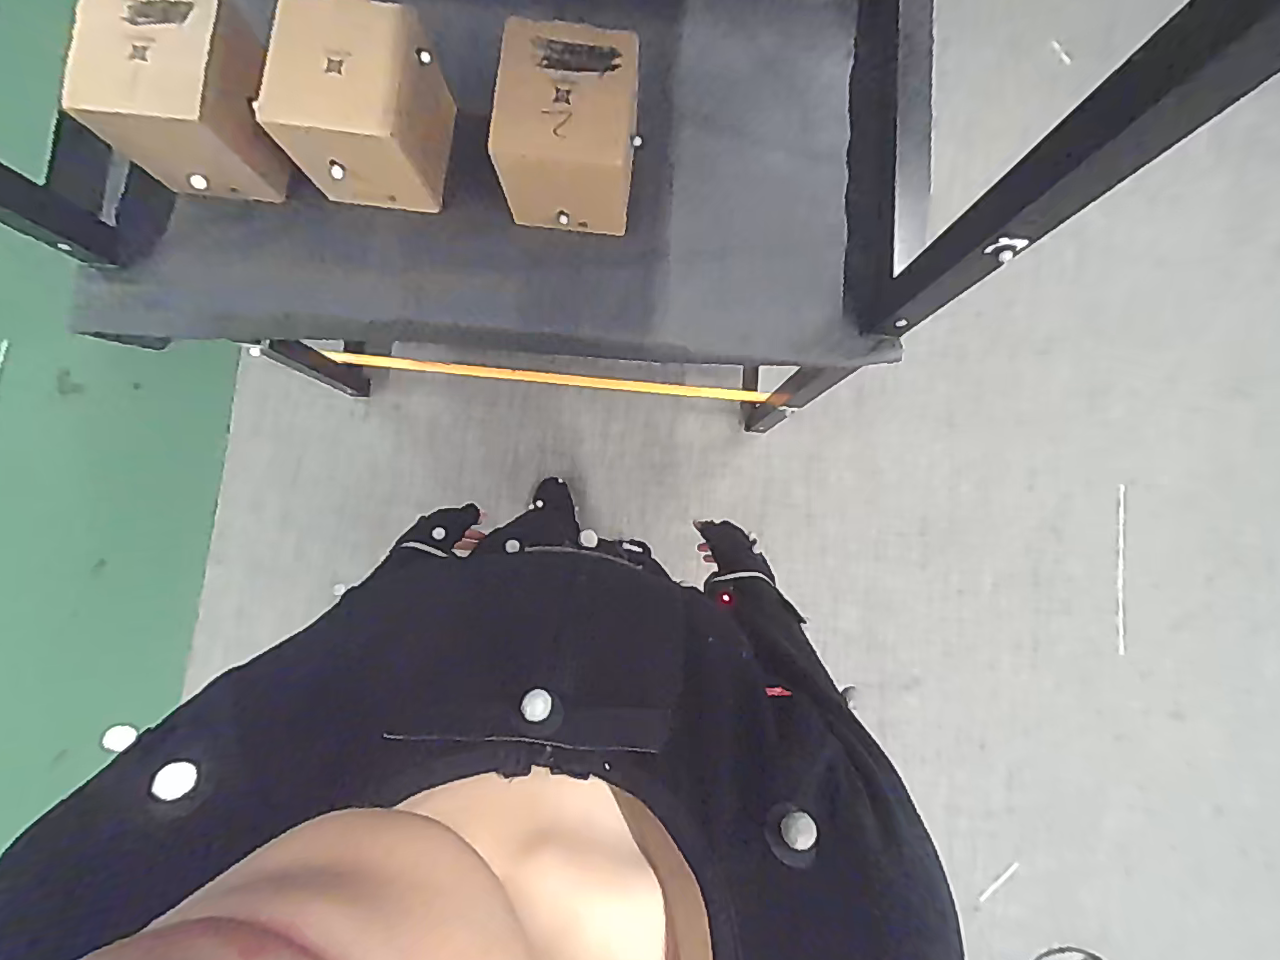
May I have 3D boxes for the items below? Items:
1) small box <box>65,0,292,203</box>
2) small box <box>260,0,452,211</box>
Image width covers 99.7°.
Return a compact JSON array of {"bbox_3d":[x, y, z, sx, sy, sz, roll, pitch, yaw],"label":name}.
[{"bbox_3d":[-0.598,-0.513,0.732,0.168,0.176,0.179,5,85,-1],"label":"small box"},{"bbox_3d":[-0.371,-0.500,0.740,0.168,0.176,0.179,6,84,-1],"label":"small box"}]
